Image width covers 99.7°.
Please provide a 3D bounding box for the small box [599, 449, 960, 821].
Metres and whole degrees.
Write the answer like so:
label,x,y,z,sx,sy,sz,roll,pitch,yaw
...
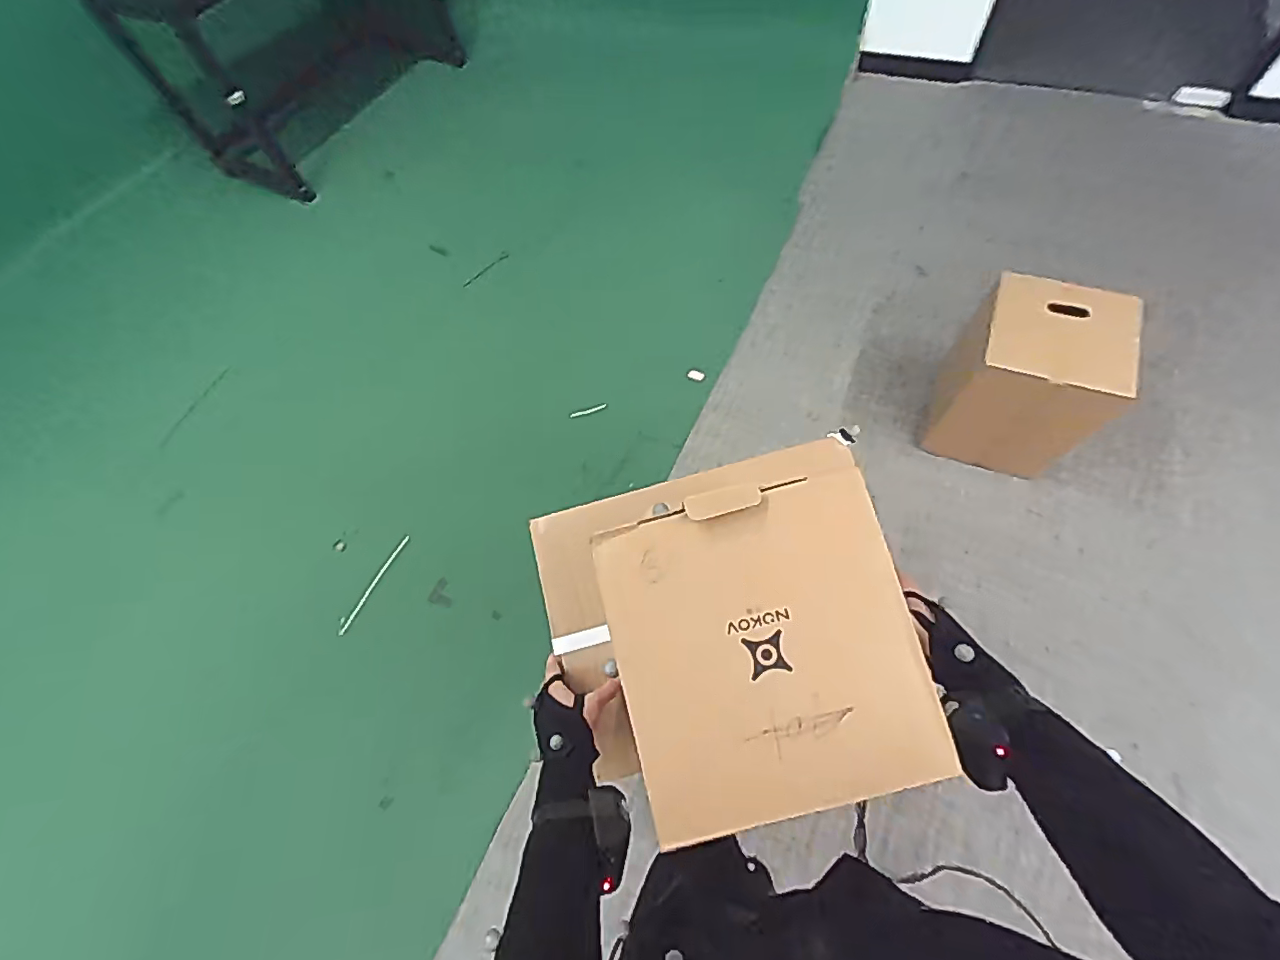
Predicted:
label,x,y,z,sx,sy,sz,roll,pitch,yaw
small box,0.076,0.097,0.381,0.168,0.176,0.179,-14,79,1
